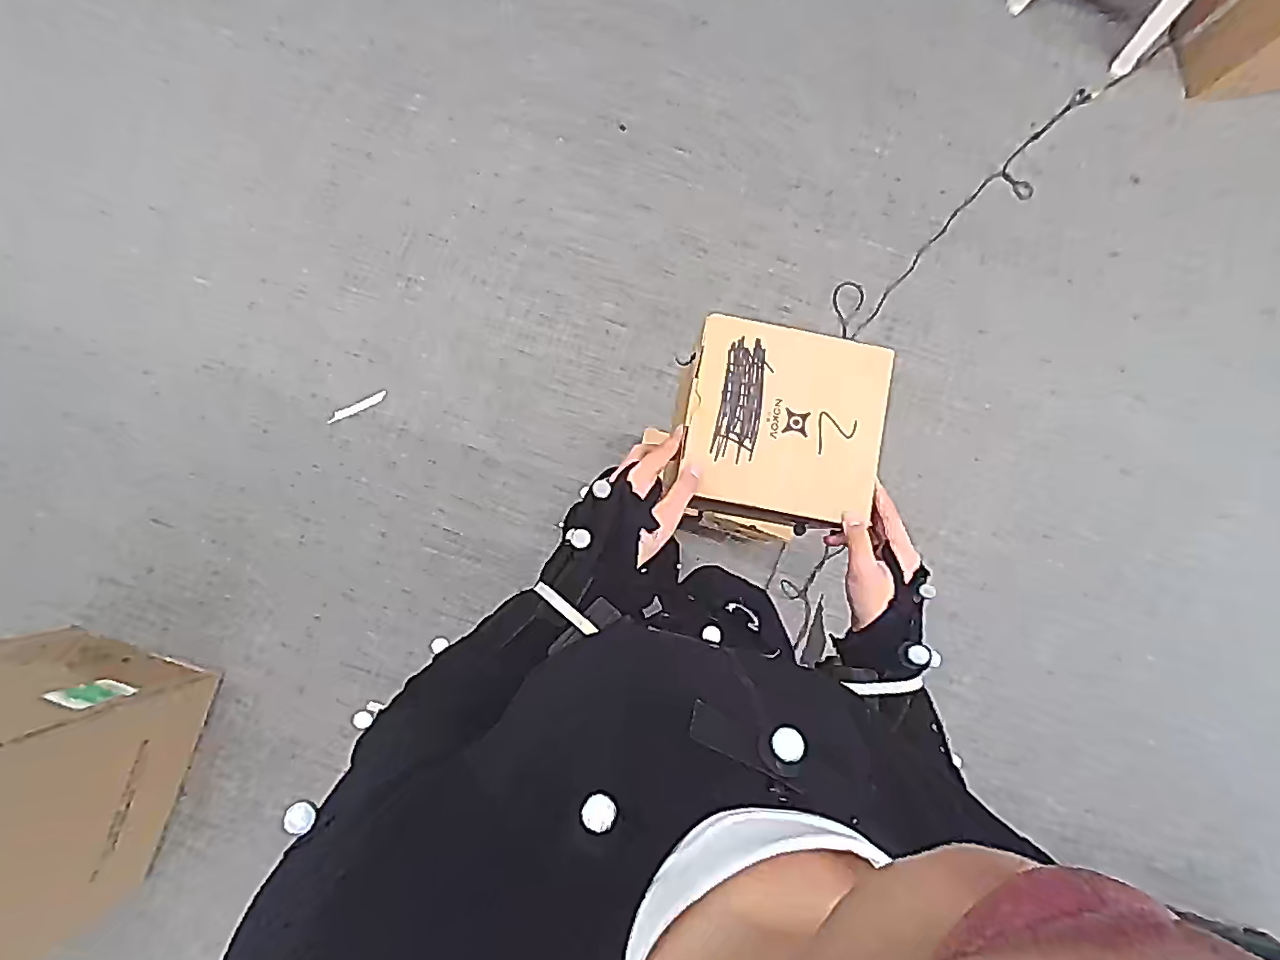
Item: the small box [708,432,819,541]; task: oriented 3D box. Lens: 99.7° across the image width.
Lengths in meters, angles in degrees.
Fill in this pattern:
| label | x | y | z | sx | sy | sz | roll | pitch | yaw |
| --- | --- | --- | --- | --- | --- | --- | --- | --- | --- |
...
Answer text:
| label | x | y | z | sx | sy | sz | roll | pitch | yaw |
| --- | --- | --- | --- | --- | --- | --- | --- | --- | --- |
| small box | 0.249 | 0.019 | 1.136 | 0.168 | 0.176 | 0.179 | 19 | 85 | 1 |
